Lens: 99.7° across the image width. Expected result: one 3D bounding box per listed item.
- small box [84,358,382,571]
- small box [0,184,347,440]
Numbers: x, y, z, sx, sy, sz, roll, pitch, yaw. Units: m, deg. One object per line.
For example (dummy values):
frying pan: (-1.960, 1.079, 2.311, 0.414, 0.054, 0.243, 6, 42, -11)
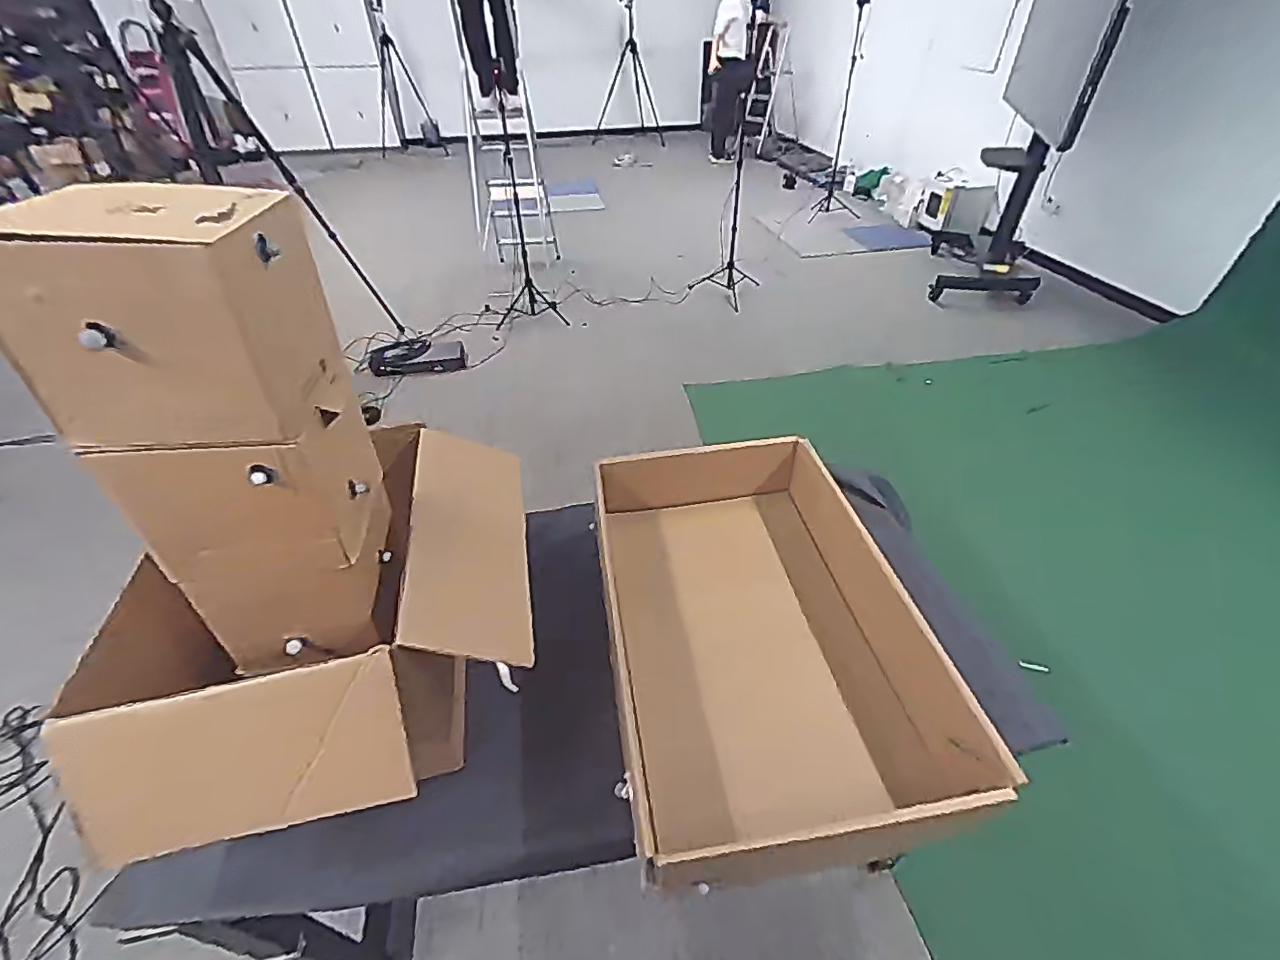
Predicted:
small box: (-0.399, -0.018, 0.576, 0.179, 0.176, 0.168, -3, 40, -10)
small box: (-0.389, -0.146, 0.473, 0.179, 0.176, 0.168, -3, 40, -9)
